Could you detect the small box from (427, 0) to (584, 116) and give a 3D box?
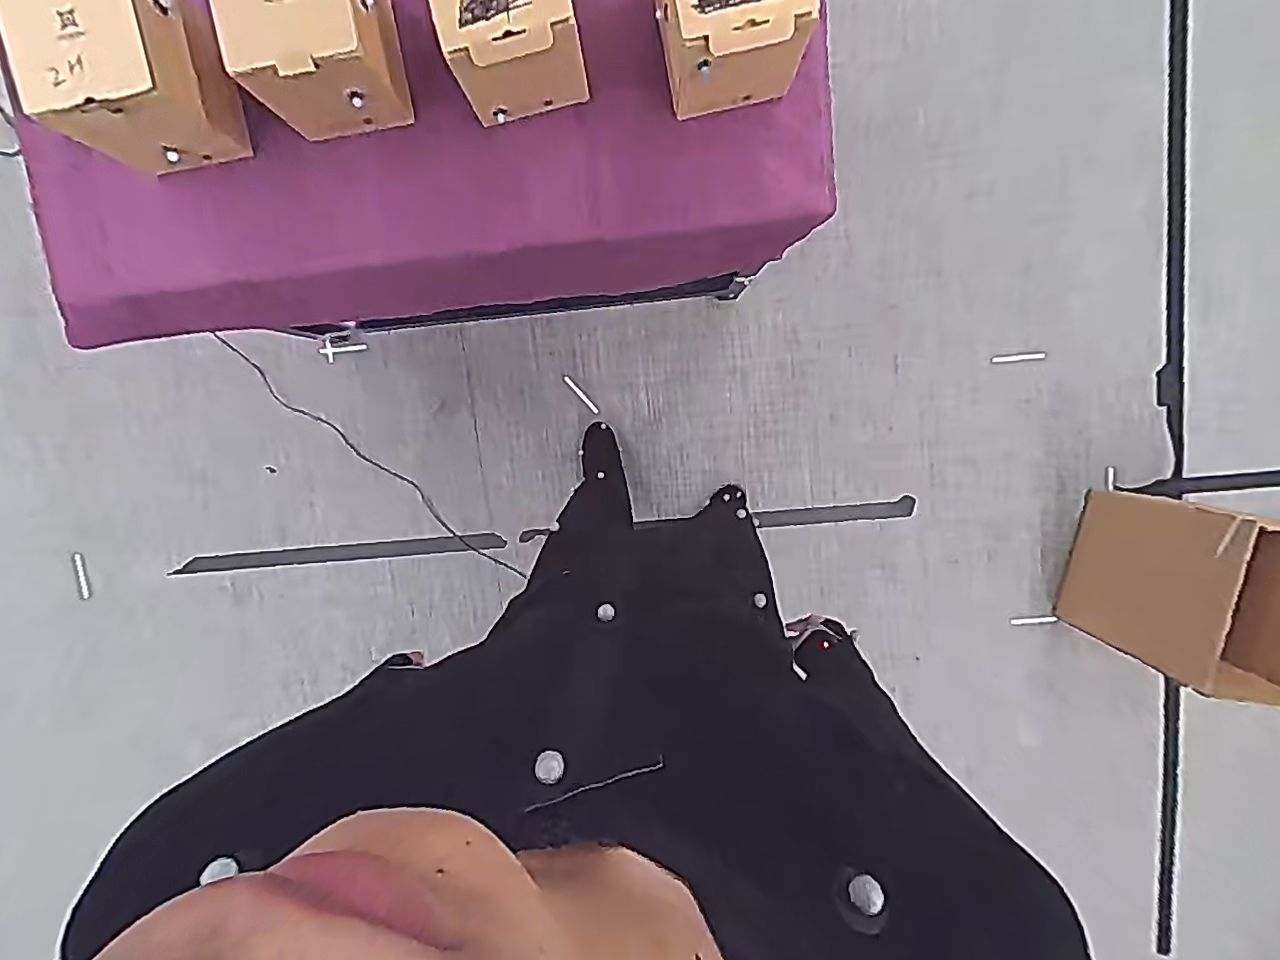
[{"bbox_3d":[-0.178,-0.619,0.712,0.168,0.176,0.179,-14,96,2],"label":"small box"}]

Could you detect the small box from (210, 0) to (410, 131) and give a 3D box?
[{"bbox_3d":[-0.429,-0.596,0.719,0.168,0.176,0.179,-9,97,1],"label":"small box"}]

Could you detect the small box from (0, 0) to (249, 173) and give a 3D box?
[{"bbox_3d":[-0.676,-0.549,0.723,0.168,0.176,0.179,-10,97,2],"label":"small box"}]
